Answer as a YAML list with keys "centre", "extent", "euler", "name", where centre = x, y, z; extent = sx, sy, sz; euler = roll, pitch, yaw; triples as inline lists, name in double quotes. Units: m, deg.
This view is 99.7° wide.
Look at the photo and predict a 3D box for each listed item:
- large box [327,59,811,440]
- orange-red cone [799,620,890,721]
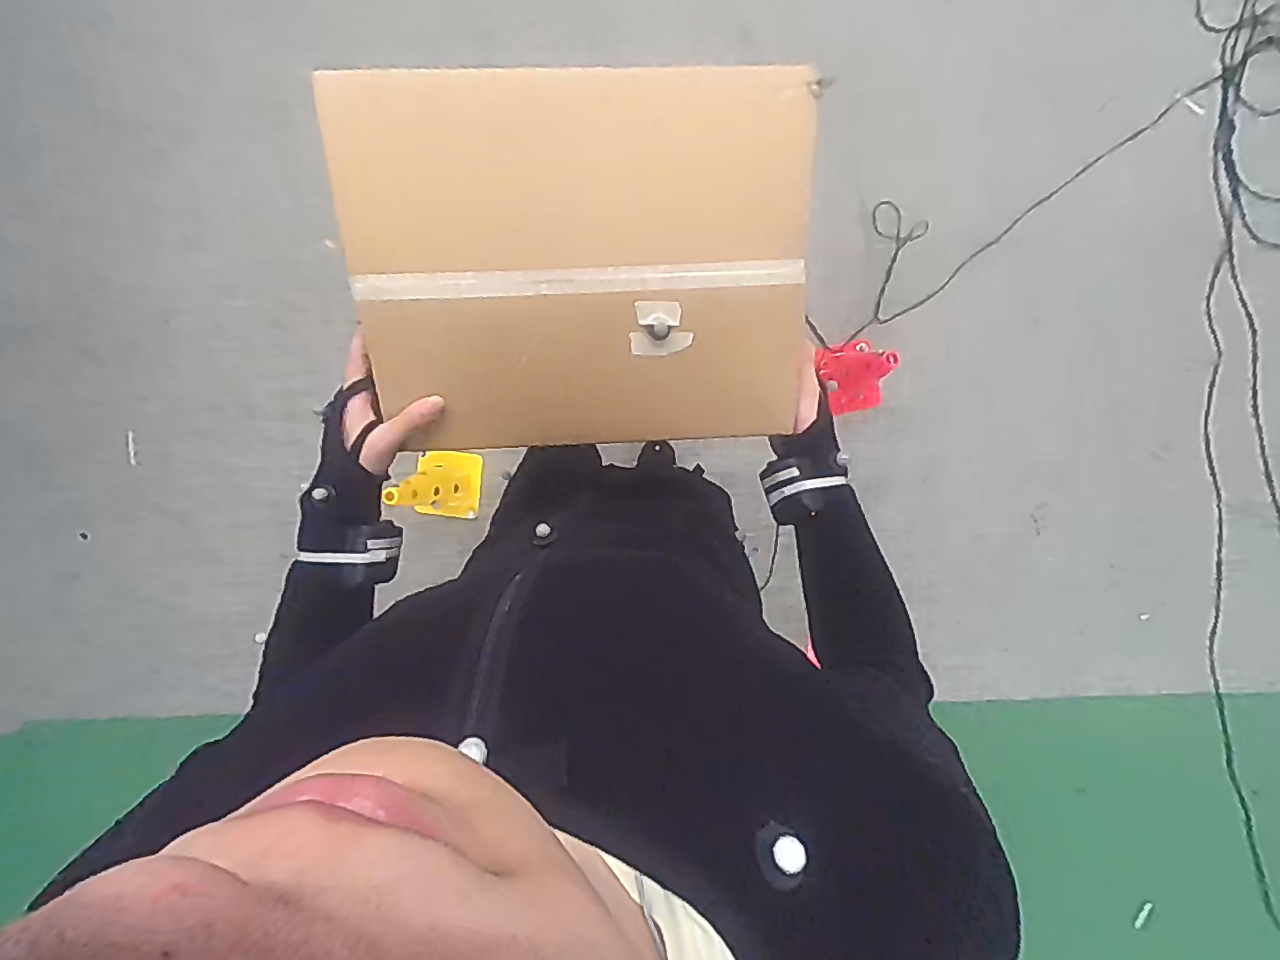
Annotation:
- centre: [-0.061, -0.248, 0.632]
  extent: [0.408, 0.320, 0.320]
  euler: [-3, 112, -4]
  name: "large box"
- centre: [0.585, 0.539, 1.459]
  extent: [0.199, 0.360, 0.198]
  euler: [5, 95, 1]
  name: "orange-red cone"
